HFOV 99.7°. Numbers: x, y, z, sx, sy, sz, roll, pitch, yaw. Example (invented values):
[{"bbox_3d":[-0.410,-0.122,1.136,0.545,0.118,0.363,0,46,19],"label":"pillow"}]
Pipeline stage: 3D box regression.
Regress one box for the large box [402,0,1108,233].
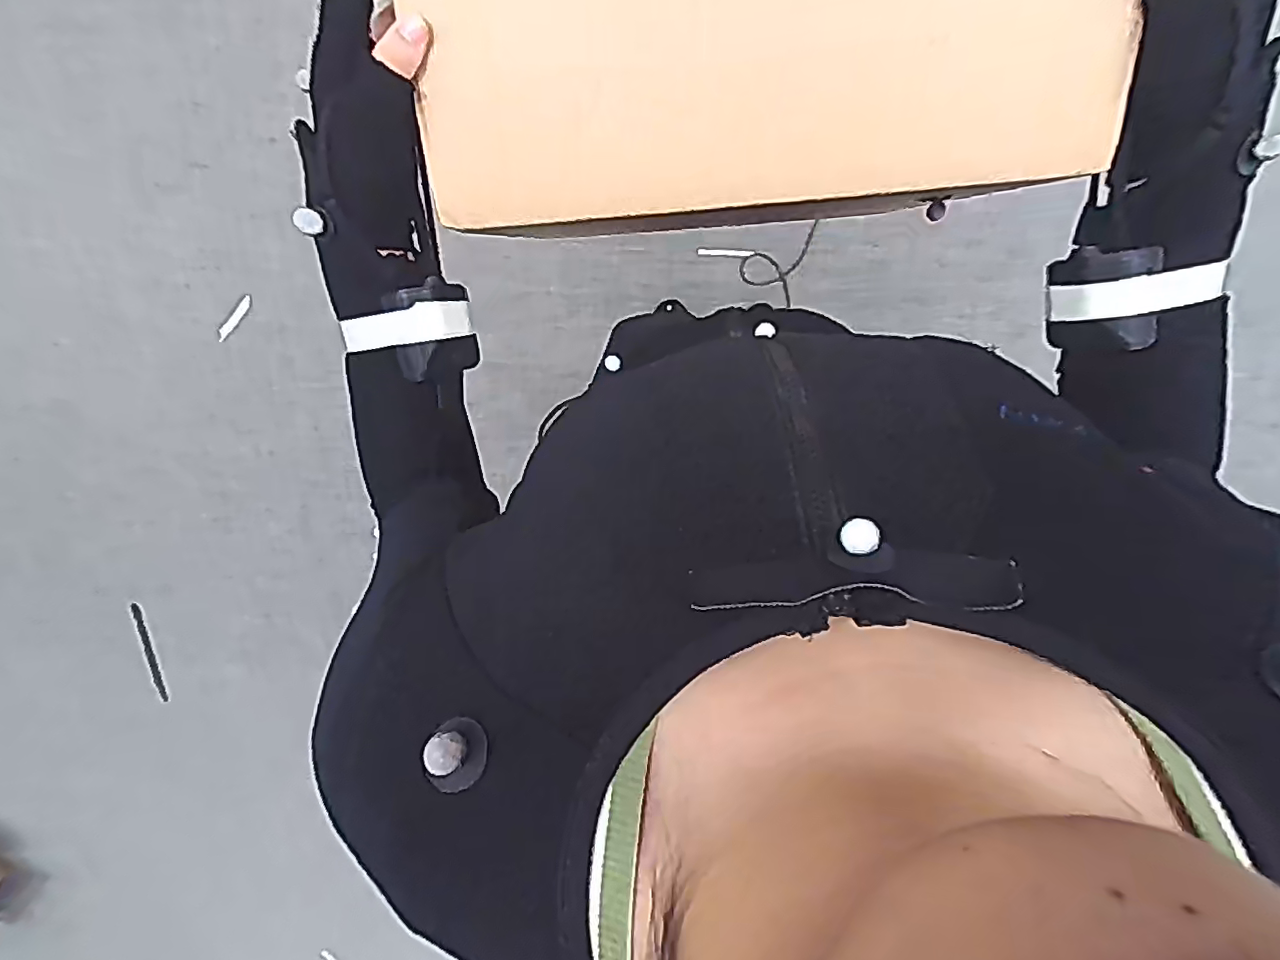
[{"bbox_3d":[0.063,-0.377,0.419,0.408,0.320,0.320,-4,113,2],"label":"large box"}]
